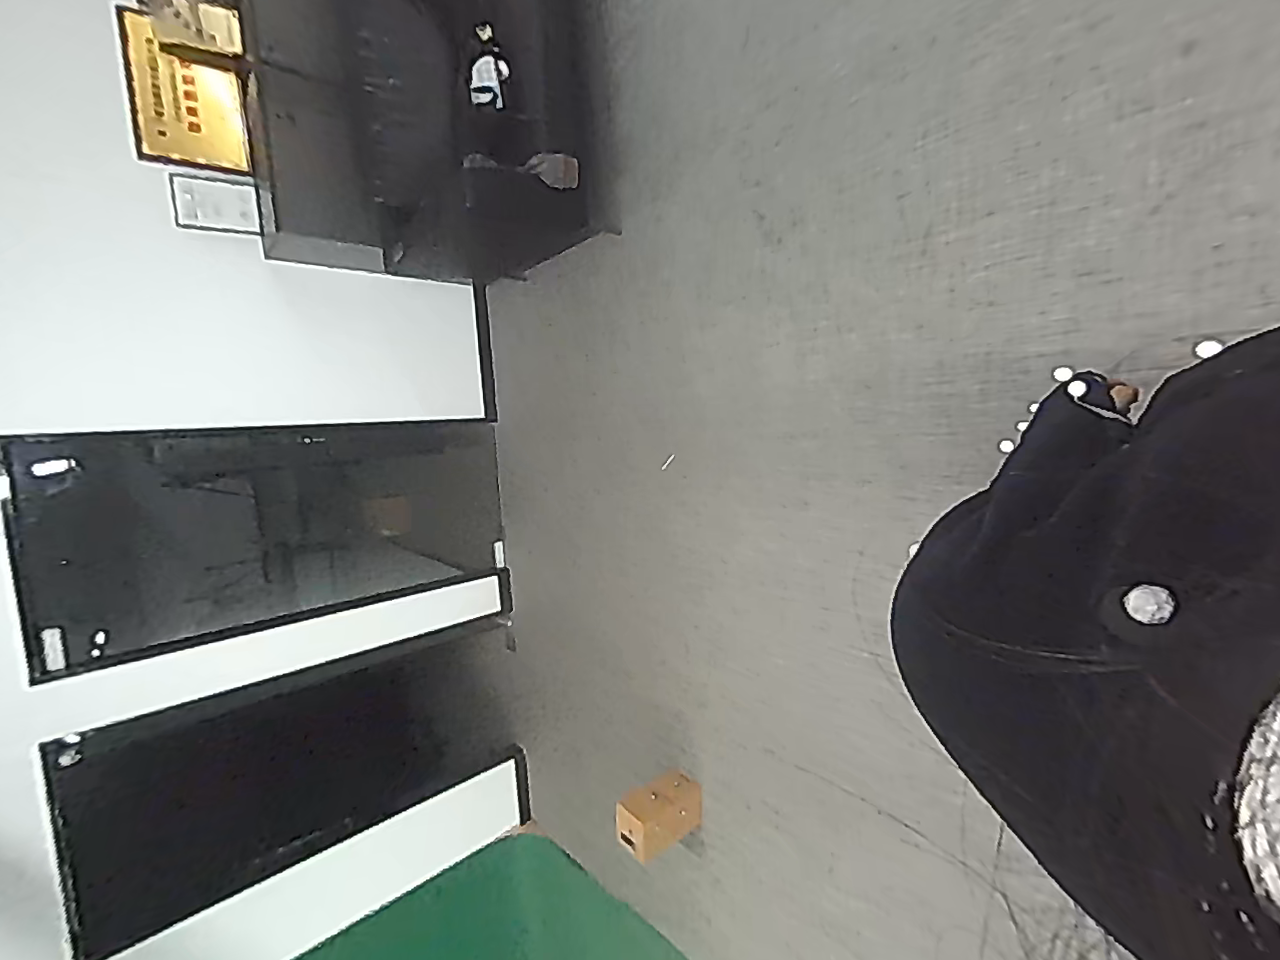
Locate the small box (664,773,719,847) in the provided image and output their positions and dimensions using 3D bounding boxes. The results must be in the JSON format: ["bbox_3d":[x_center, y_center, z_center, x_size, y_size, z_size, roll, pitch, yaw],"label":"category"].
[{"bbox_3d":[0.217,1.377,2.274,0.168,0.176,0.179,11,105,49],"label":"small box"}]
